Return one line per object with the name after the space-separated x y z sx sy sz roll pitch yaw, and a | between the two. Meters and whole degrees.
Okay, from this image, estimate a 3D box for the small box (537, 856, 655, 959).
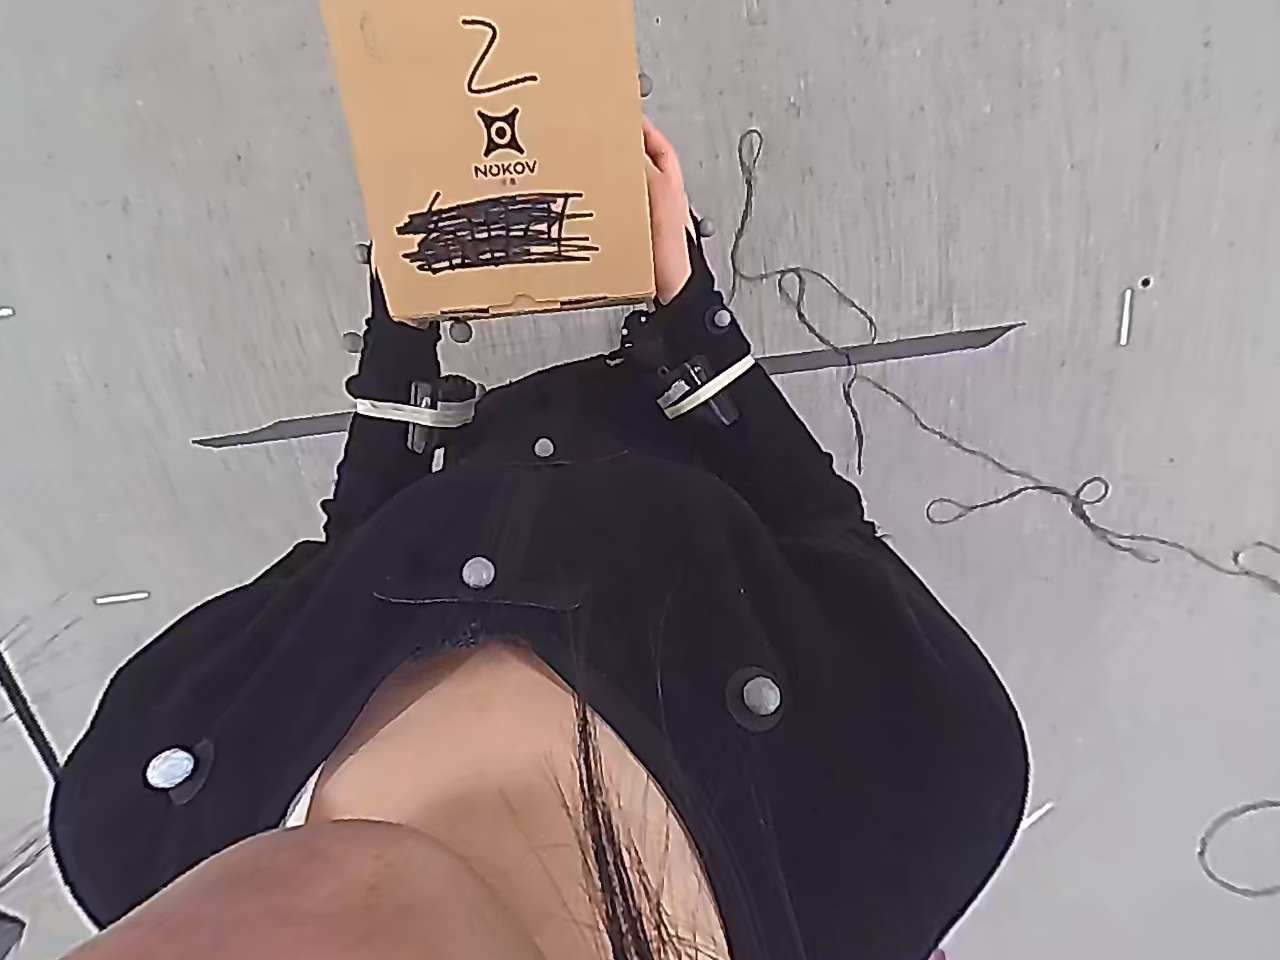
-0.062 0.746 0.861 0.168 0.176 0.179 -6 105 -1 | small box
